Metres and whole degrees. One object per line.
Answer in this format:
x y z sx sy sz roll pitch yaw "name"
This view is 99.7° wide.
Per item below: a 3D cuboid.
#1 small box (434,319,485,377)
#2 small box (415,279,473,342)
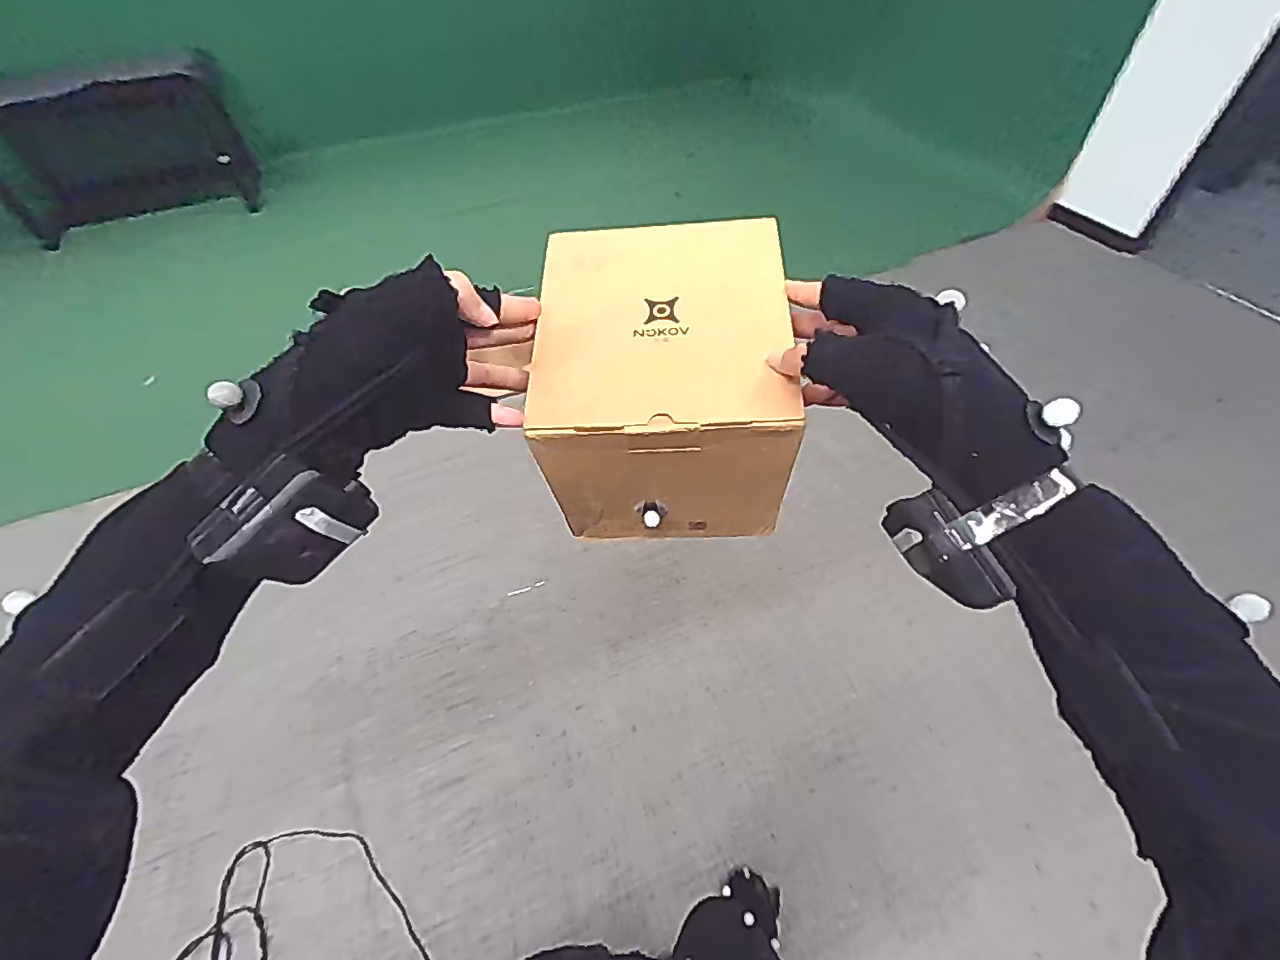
-0.769 -0.566 2.288 0.168 0.176 0.179 -19 52 -10 "small box"
-0.781 -0.671 2.162 0.168 0.176 0.179 -17 50 -9 "small box"
